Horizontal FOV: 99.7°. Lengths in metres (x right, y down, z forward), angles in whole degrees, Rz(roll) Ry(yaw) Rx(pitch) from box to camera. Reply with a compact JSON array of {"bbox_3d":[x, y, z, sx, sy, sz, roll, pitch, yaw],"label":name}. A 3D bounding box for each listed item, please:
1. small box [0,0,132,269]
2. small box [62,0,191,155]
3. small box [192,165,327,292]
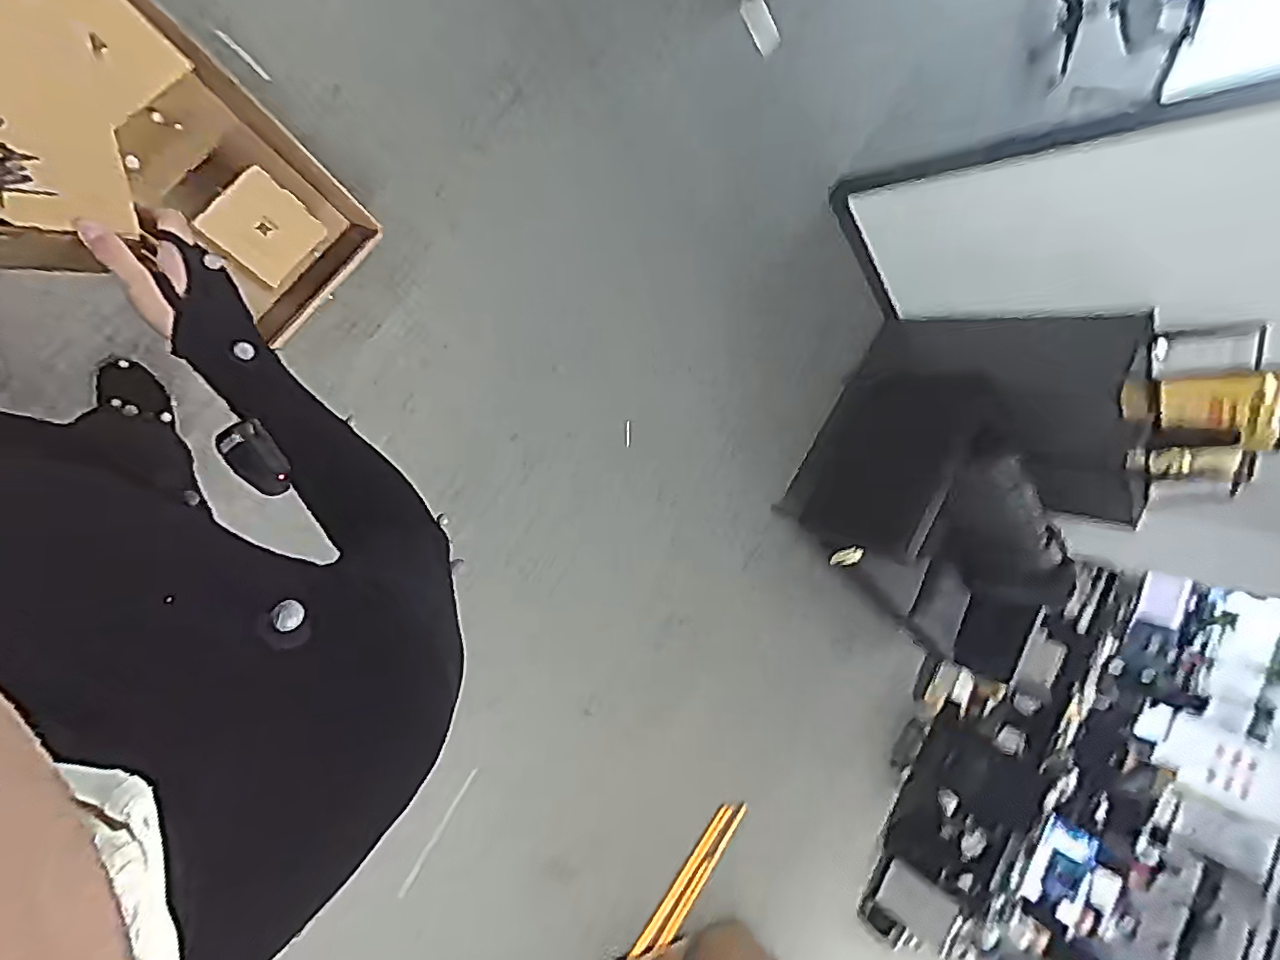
[{"bbox_3d":[-0.548,-0.279,0.443,0.168,0.176,0.179,-18,106,-41],"label":"small box"},{"bbox_3d":[-0.869,-0.662,0.861,0.179,0.176,0.168,-56,130,-15],"label":"small box"},{"bbox_3d":[-0.814,-0.528,1.156,0.168,0.176,0.179,45,73,-36],"label":"small box"}]
